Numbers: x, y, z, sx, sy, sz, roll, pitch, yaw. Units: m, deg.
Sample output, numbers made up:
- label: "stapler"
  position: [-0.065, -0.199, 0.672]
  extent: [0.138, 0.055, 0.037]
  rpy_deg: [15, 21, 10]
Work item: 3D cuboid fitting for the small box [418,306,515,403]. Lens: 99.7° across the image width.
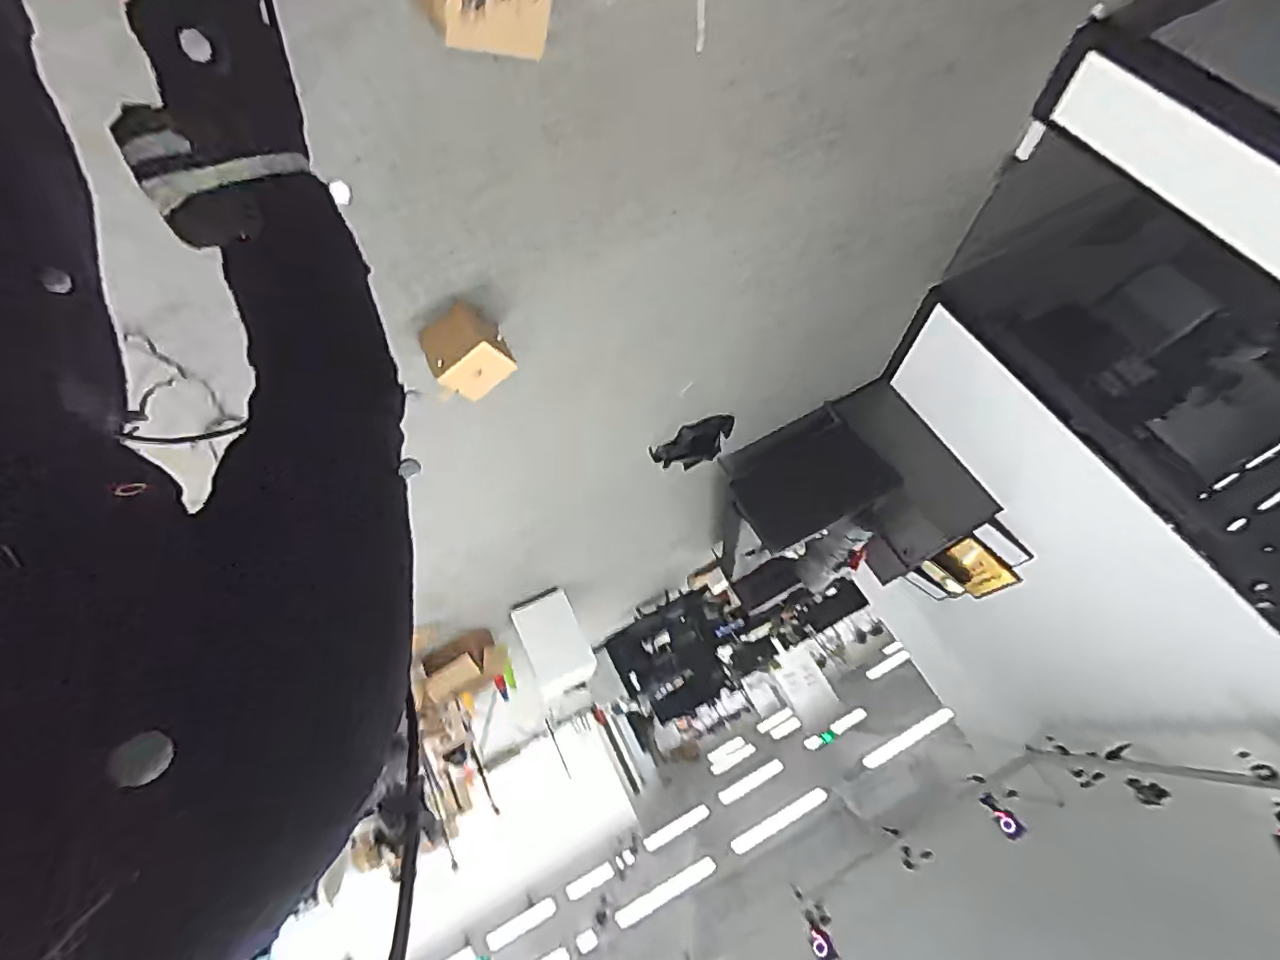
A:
- label: "small box"
  position: [-0.494, -0.354, 1.528]
  extent: [0.179, 0.176, 0.168]
  rpy_deg: [-35, 157, 12]
